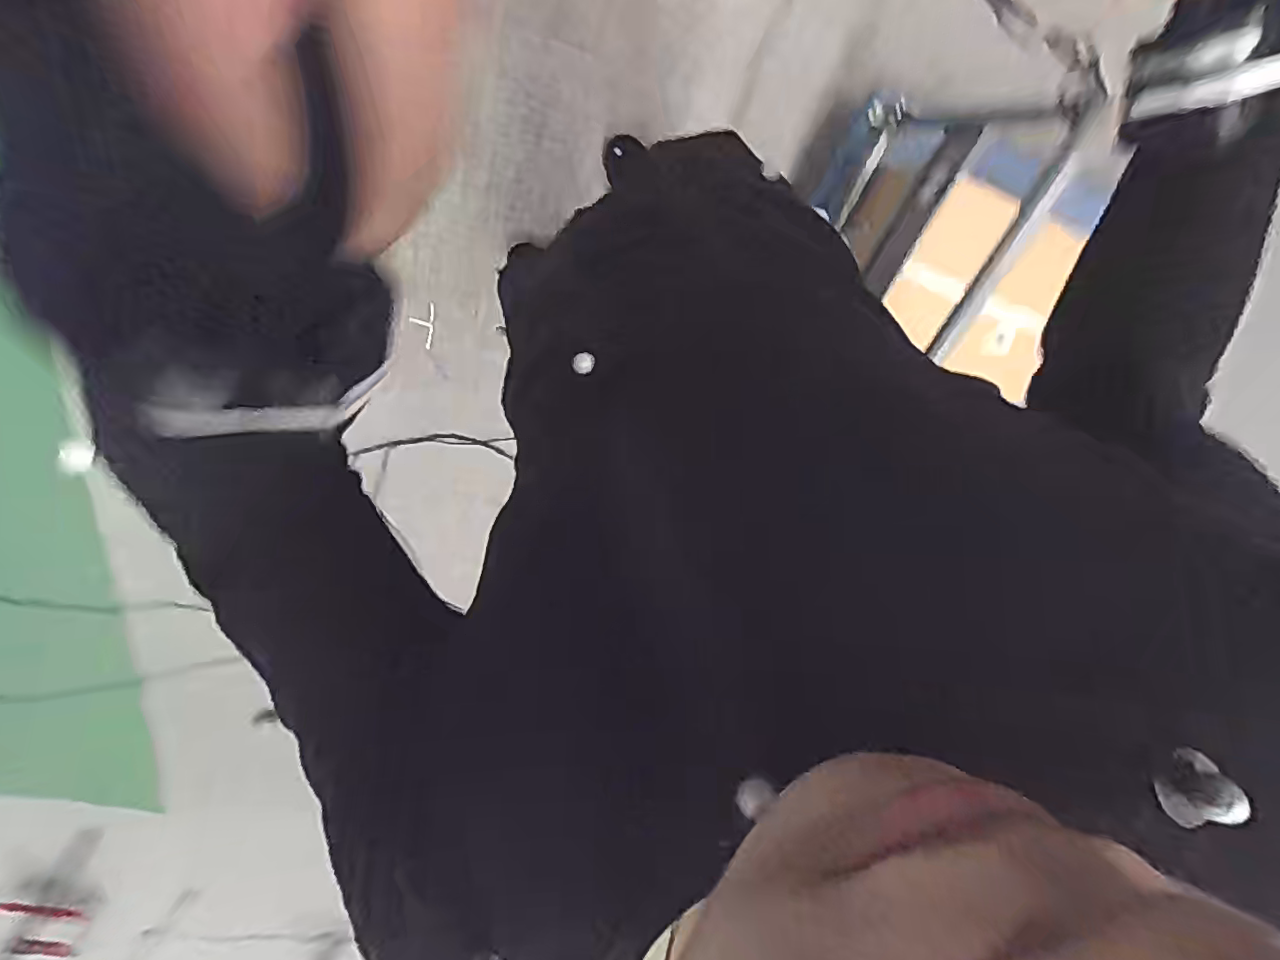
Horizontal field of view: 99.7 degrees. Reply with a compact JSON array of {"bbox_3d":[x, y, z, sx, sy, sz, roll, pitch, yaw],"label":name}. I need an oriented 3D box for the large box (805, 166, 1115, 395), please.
[{"bbox_3d":[0.635,-0.430,1.154,0.408,0.320,0.320,16,121,-13],"label":"large box"}]
